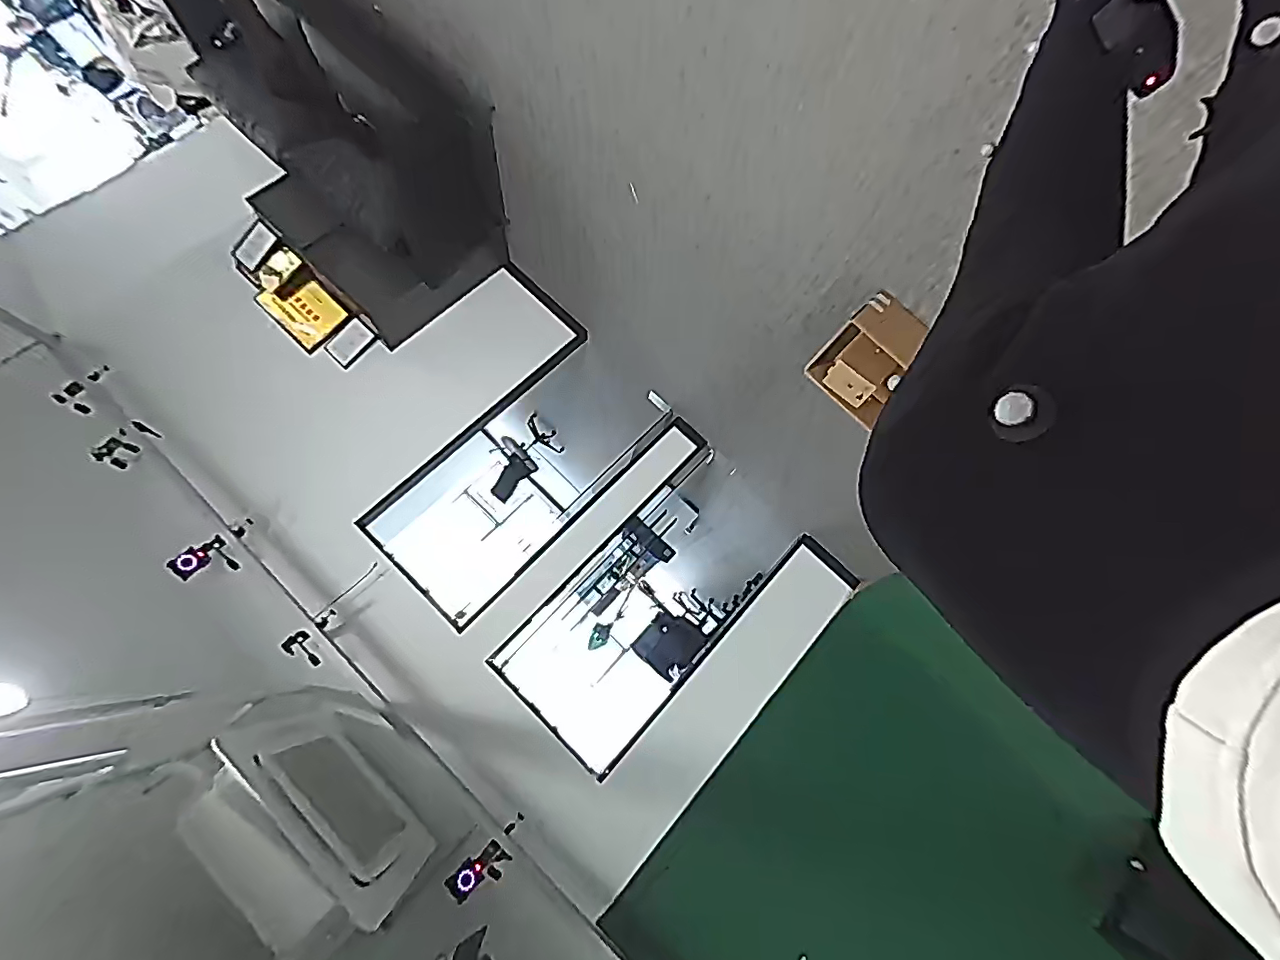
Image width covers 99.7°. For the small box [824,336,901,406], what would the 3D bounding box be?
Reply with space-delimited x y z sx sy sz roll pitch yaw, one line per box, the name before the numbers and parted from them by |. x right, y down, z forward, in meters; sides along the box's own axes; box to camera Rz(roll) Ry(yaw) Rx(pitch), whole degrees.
small box | 0.848 -0.423 2.066 0.179 0.176 0.168 42 163 10
